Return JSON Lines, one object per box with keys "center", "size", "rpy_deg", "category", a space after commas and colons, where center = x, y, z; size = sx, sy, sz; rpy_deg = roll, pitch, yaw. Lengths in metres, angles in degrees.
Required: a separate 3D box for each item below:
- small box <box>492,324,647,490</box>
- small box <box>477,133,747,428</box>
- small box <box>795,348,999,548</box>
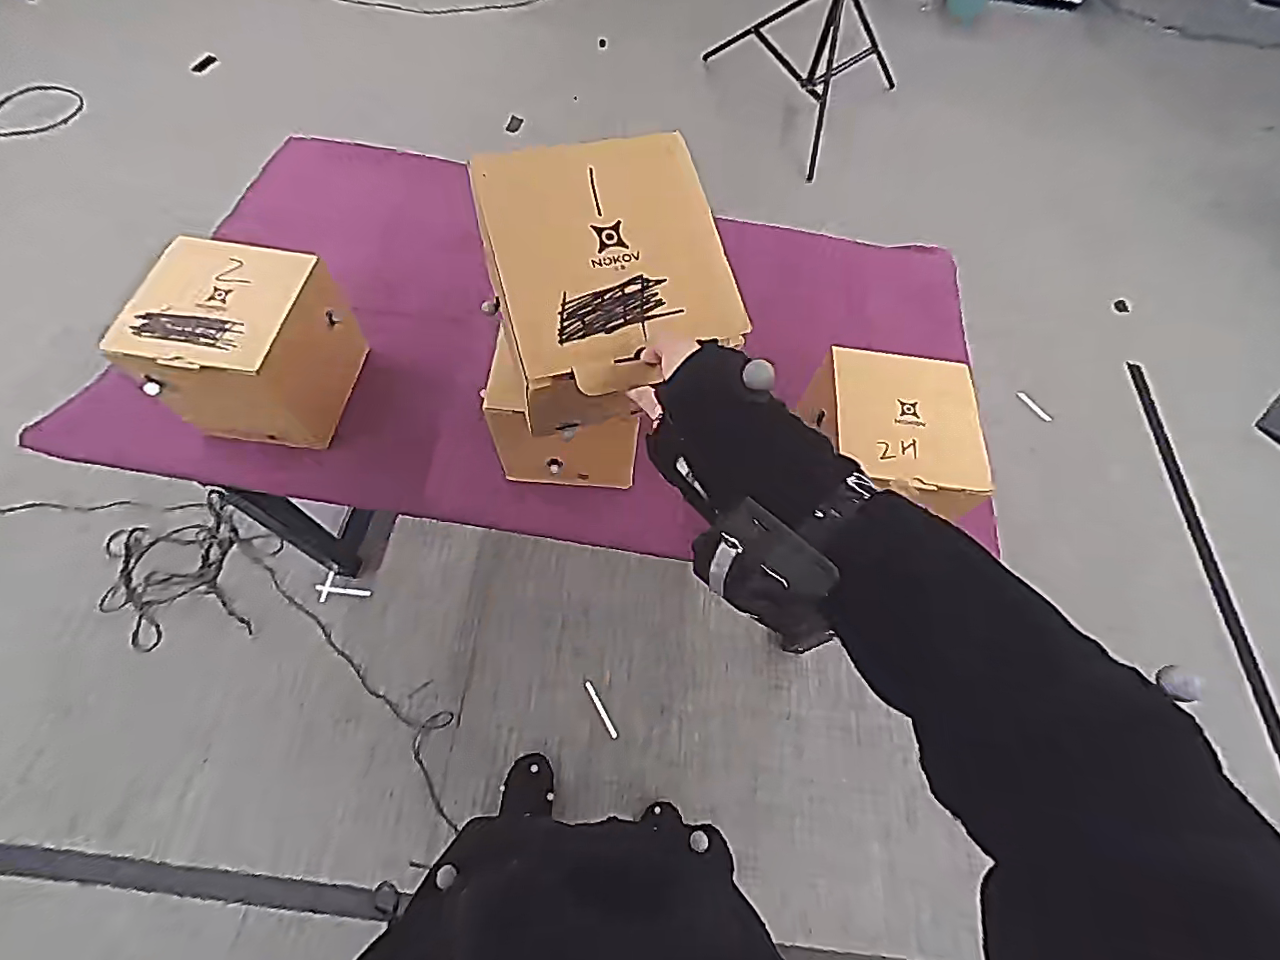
{"center": [-0.078, -0.106, 0.675], "size": [0.168, 0.176, 0.179], "rpy_deg": [4, 65, -3], "category": "small box"}
{"center": [-0.030, -0.152, 0.468], "size": [0.168, 0.176, 0.179], "rpy_deg": [-14, 84, -11], "category": "small box"}
{"center": [0.298, -0.033, 0.671], "size": [0.168, 0.176, 0.179], "rpy_deg": [7, 63, 0], "category": "small box"}
